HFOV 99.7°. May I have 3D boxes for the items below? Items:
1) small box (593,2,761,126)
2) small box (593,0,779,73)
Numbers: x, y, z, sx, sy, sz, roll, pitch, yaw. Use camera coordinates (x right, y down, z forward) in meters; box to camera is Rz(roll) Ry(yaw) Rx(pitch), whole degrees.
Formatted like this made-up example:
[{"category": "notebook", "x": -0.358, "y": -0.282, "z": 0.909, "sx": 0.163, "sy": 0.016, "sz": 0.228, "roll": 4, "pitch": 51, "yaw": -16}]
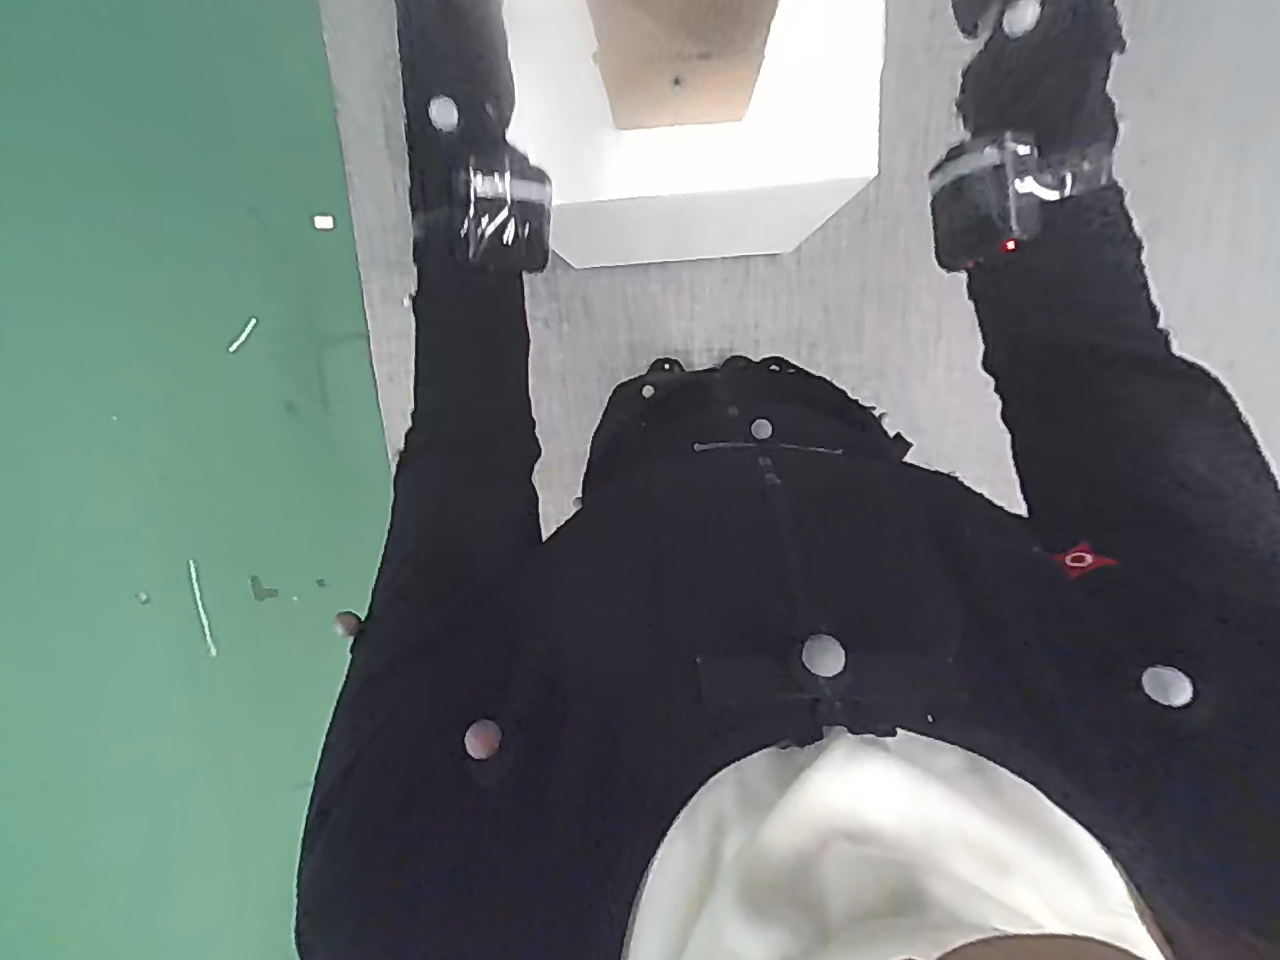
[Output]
[{"category": "small box", "x": 0.042, "y": -0.536, "z": 0.628, "sx": 0.179, "sy": 0.176, "sz": 0.168, "roll": -1, "pitch": 104, "yaw": 3}, {"category": "small box", "x": 0.037, "y": -0.500, "z": 0.472, "sx": 0.168, "sy": 0.176, "sz": 0.179, "roll": -3, "pitch": 104, "yaw": 3}]
